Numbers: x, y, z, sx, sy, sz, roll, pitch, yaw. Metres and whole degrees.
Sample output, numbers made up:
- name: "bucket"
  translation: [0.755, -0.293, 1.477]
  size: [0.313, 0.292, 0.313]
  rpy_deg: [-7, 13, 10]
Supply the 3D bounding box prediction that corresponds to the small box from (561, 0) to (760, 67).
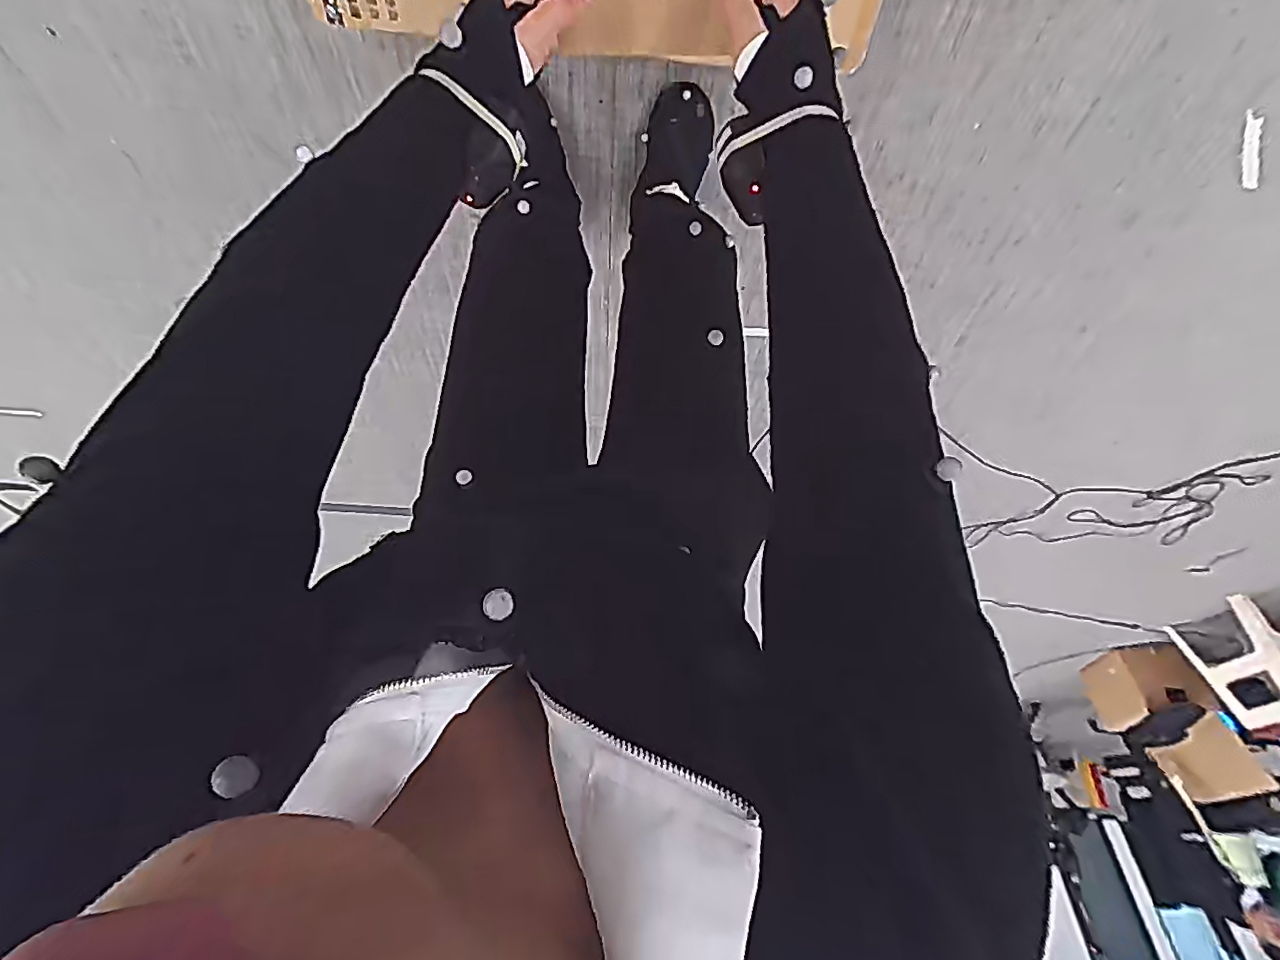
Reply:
- name: "small box"
  translation: [0.018, -0.481, 0.459]
  size: [0.168, 0.176, 0.179]
  rpy_deg: [1, 142, 2]
